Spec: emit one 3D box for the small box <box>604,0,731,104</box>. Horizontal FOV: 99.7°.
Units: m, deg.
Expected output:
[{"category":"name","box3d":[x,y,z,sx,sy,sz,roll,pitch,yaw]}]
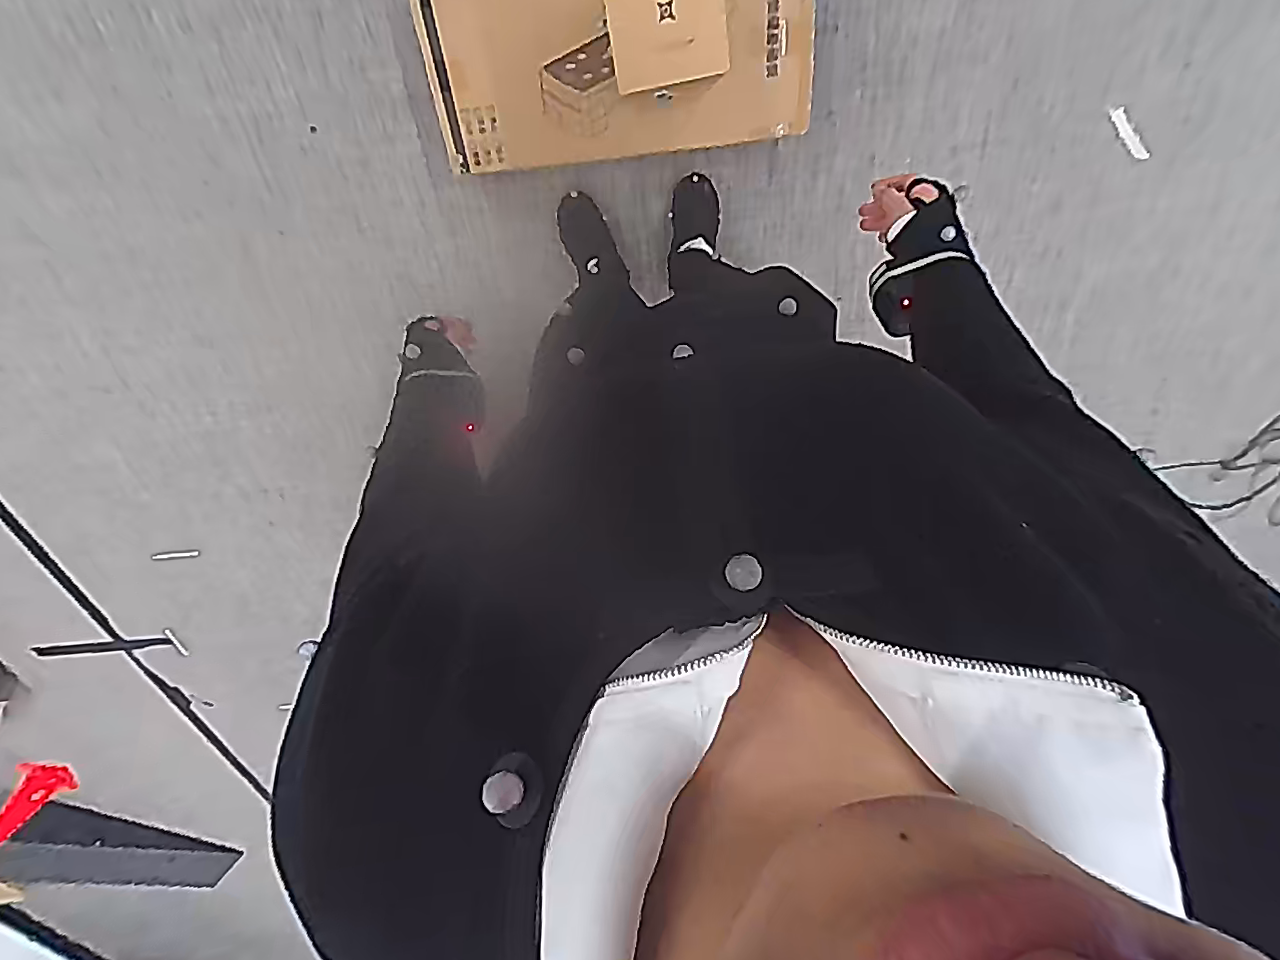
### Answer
[{"category":"small box","box3d":[0.035,-0.688,0.809,0.168,0.176,0.179,-10,122,5]}]
